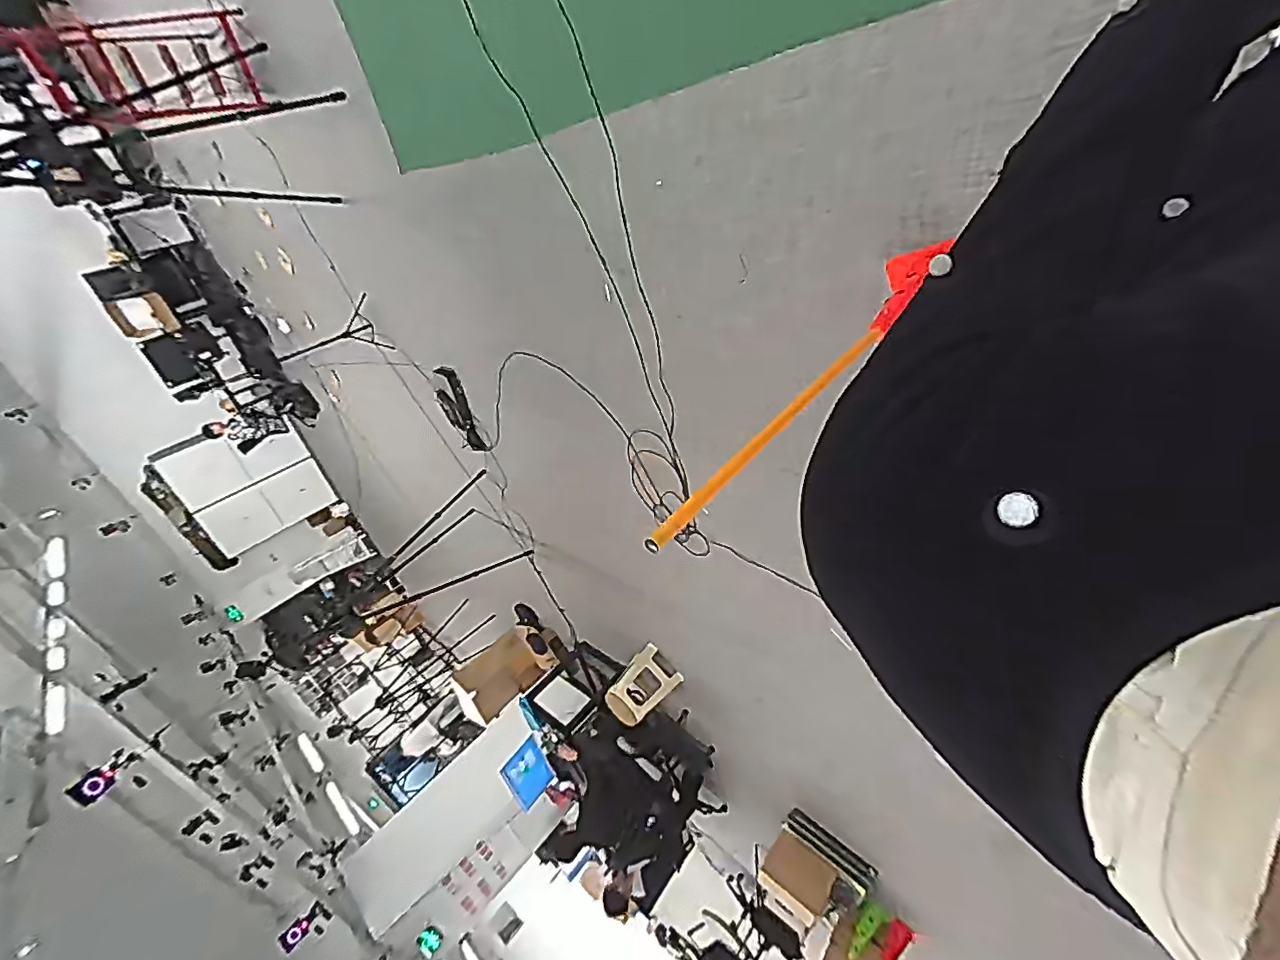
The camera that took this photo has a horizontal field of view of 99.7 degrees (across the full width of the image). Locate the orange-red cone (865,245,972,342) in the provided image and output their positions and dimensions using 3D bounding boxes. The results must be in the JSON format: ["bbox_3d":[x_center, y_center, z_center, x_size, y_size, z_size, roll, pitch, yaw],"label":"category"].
[{"bbox_3d":[0.666,-0.430,1.374,0.199,0.360,0.198,2,122,51],"label":"orange-red cone"}]
